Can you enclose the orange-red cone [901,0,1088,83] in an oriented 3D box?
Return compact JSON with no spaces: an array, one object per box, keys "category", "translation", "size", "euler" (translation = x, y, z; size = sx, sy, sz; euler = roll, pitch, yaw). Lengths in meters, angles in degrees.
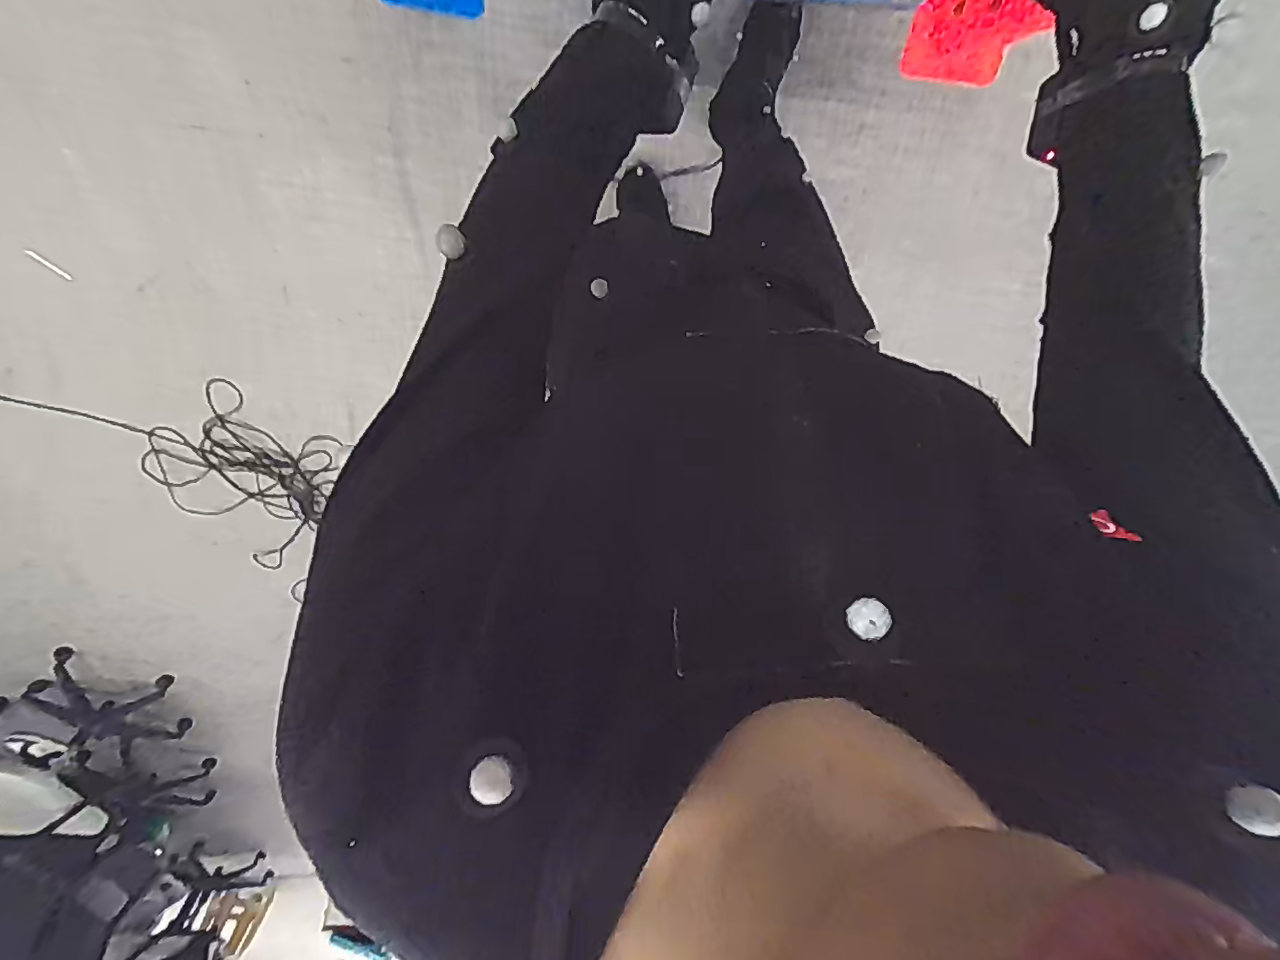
[{"category":"orange-red cone","translation":[0.616,-0.784,0.892],"size":[0.199,0.360,0.198],"euler":[7,127,-3]}]
